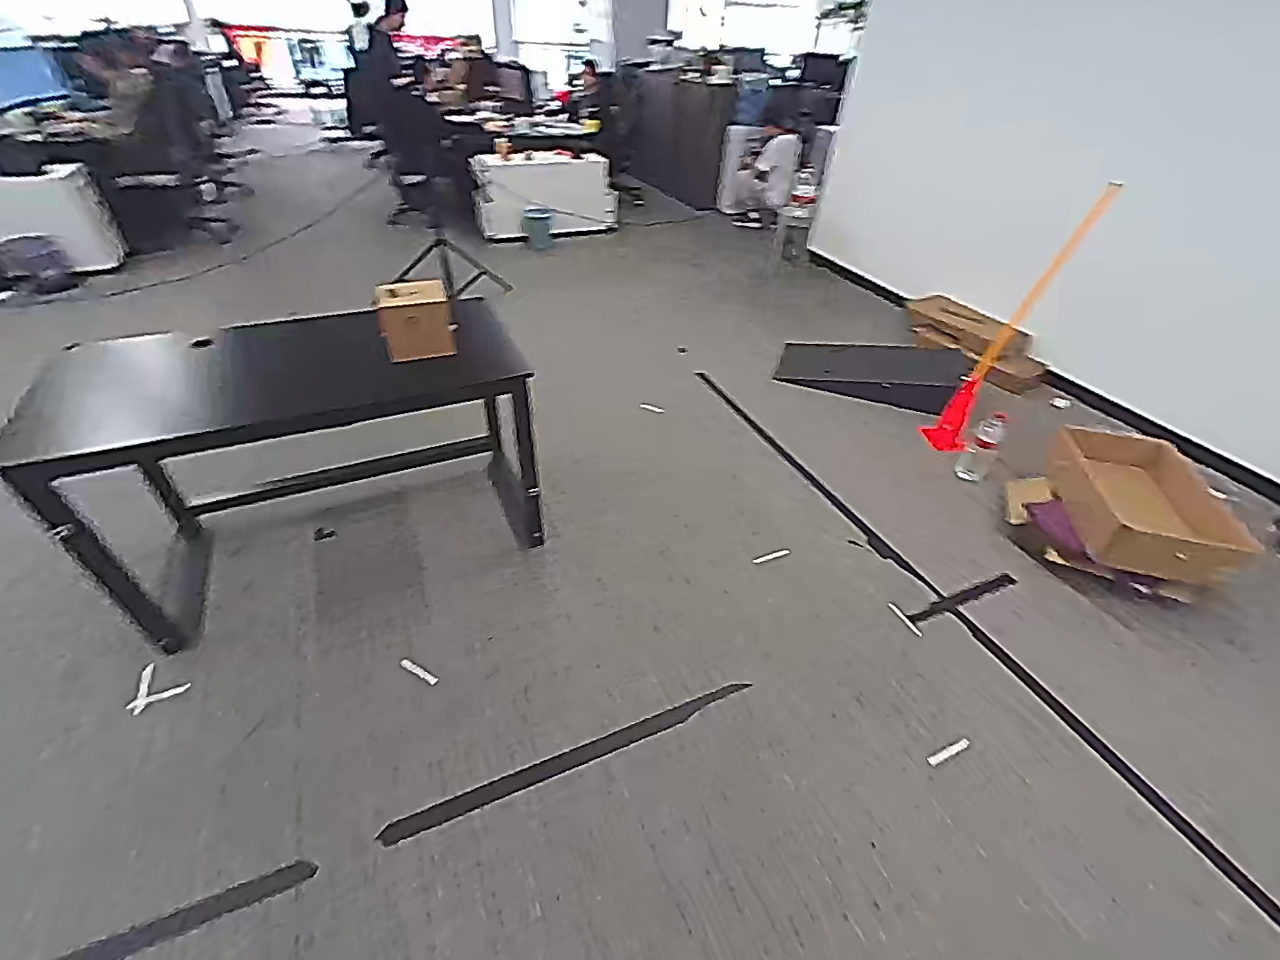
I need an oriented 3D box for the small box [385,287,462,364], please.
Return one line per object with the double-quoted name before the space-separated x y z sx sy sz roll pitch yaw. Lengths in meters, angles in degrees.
"small box" -0.644 -0.460 1.613 0.179 0.176 0.168 -13 42 -19
